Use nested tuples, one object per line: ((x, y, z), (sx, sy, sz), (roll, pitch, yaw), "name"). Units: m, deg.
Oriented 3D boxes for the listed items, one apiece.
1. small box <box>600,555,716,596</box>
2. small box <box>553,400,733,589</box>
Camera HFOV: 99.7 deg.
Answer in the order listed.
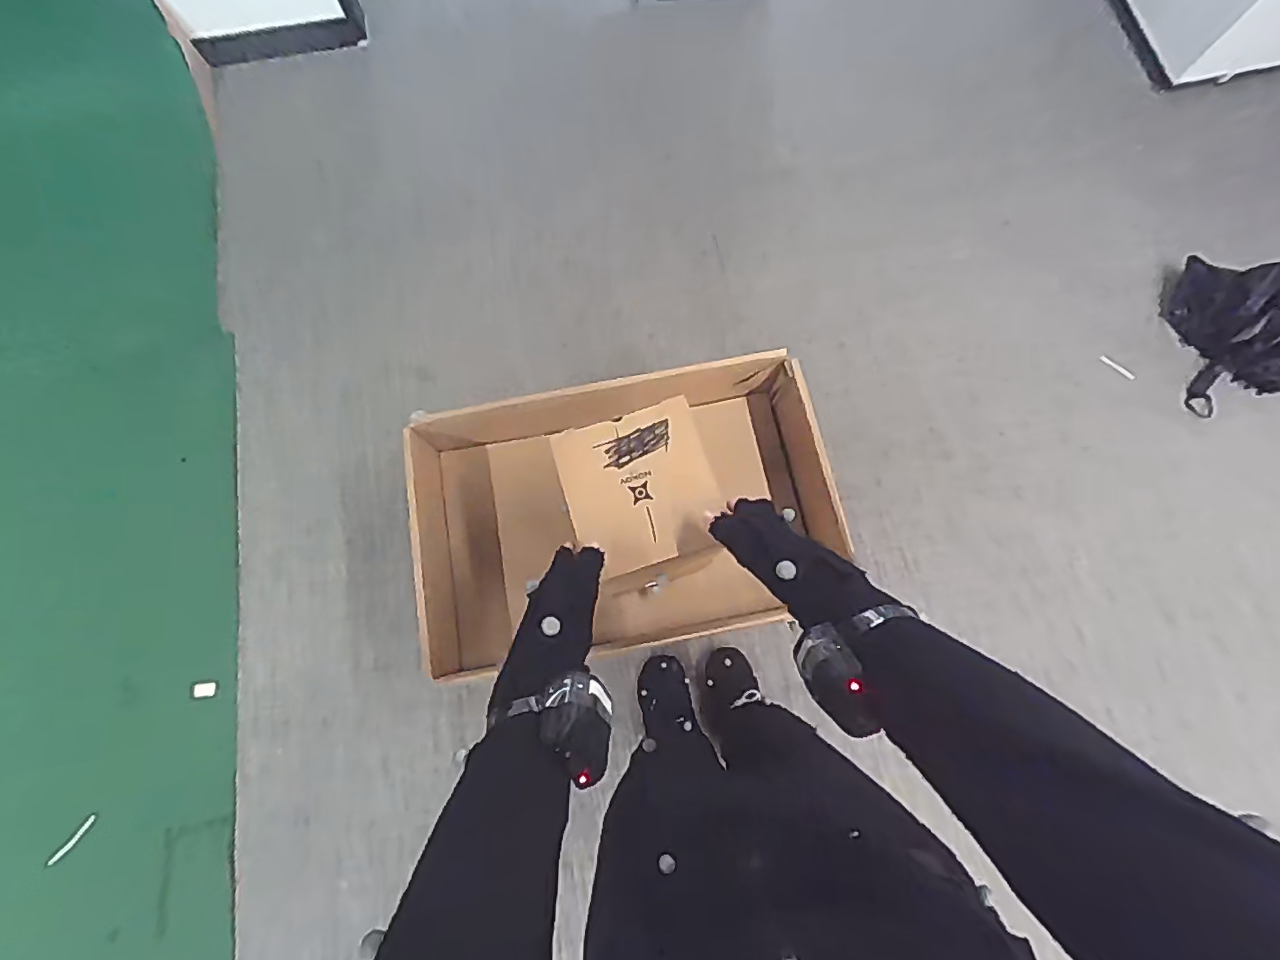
((0.005, 0.072, 0.838), (0.168, 0.176, 0.179), (-18, 76, -2), "small box")
((0.002, 0.028, 0.680), (0.168, 0.176, 0.179), (-18, 76, -2), "small box")
